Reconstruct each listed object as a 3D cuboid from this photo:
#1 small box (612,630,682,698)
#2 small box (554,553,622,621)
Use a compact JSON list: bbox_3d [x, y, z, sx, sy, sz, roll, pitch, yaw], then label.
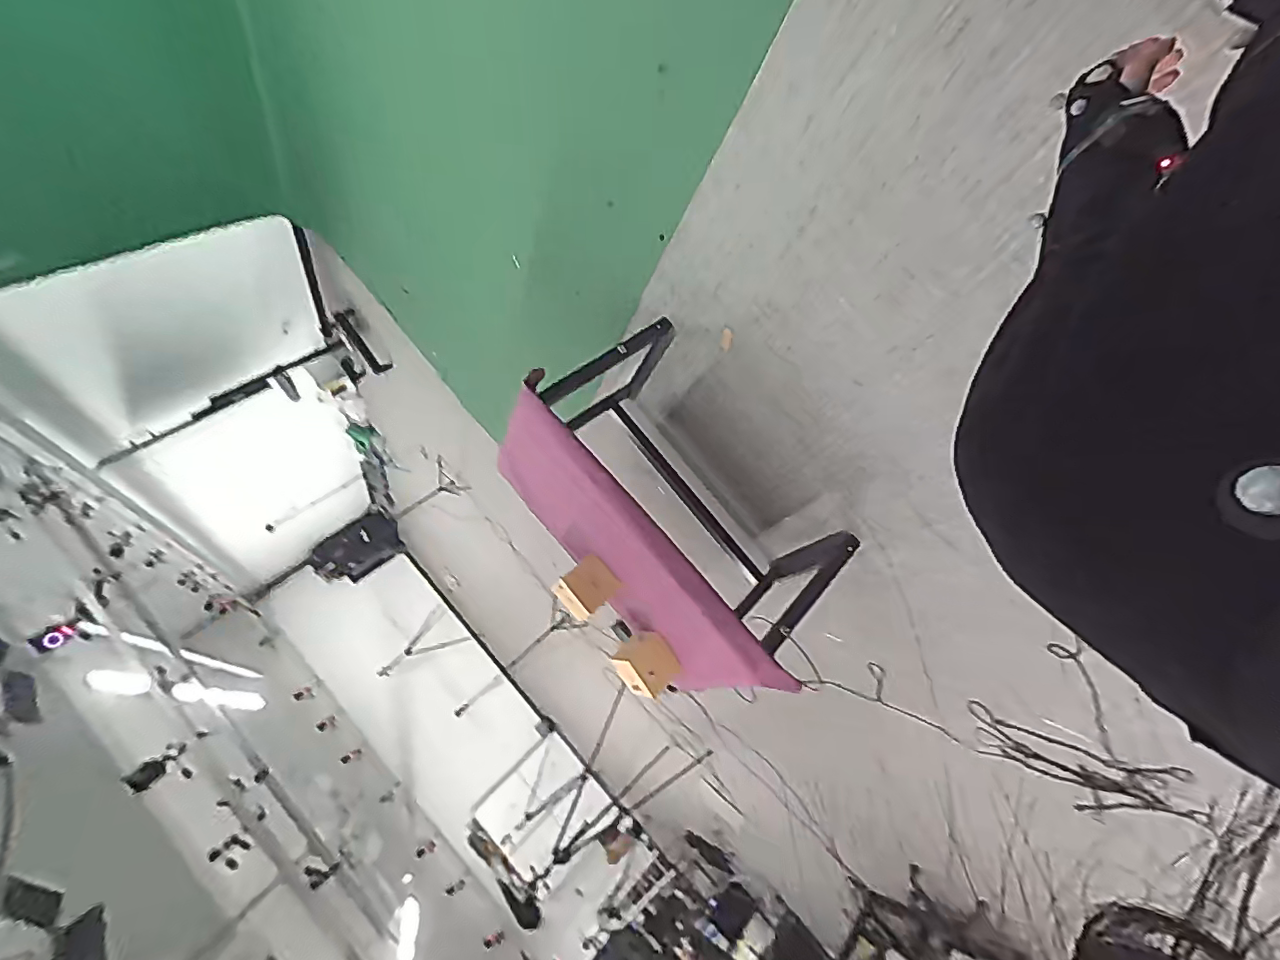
[{"bbox_3d":[0.031,0.701,2.075,0.179,0.176,0.168,56,148,-6],"label":"small box"},{"bbox_3d":[-0.198,0.409,2.071,0.179,0.176,0.168,48,148,4],"label":"small box"}]
